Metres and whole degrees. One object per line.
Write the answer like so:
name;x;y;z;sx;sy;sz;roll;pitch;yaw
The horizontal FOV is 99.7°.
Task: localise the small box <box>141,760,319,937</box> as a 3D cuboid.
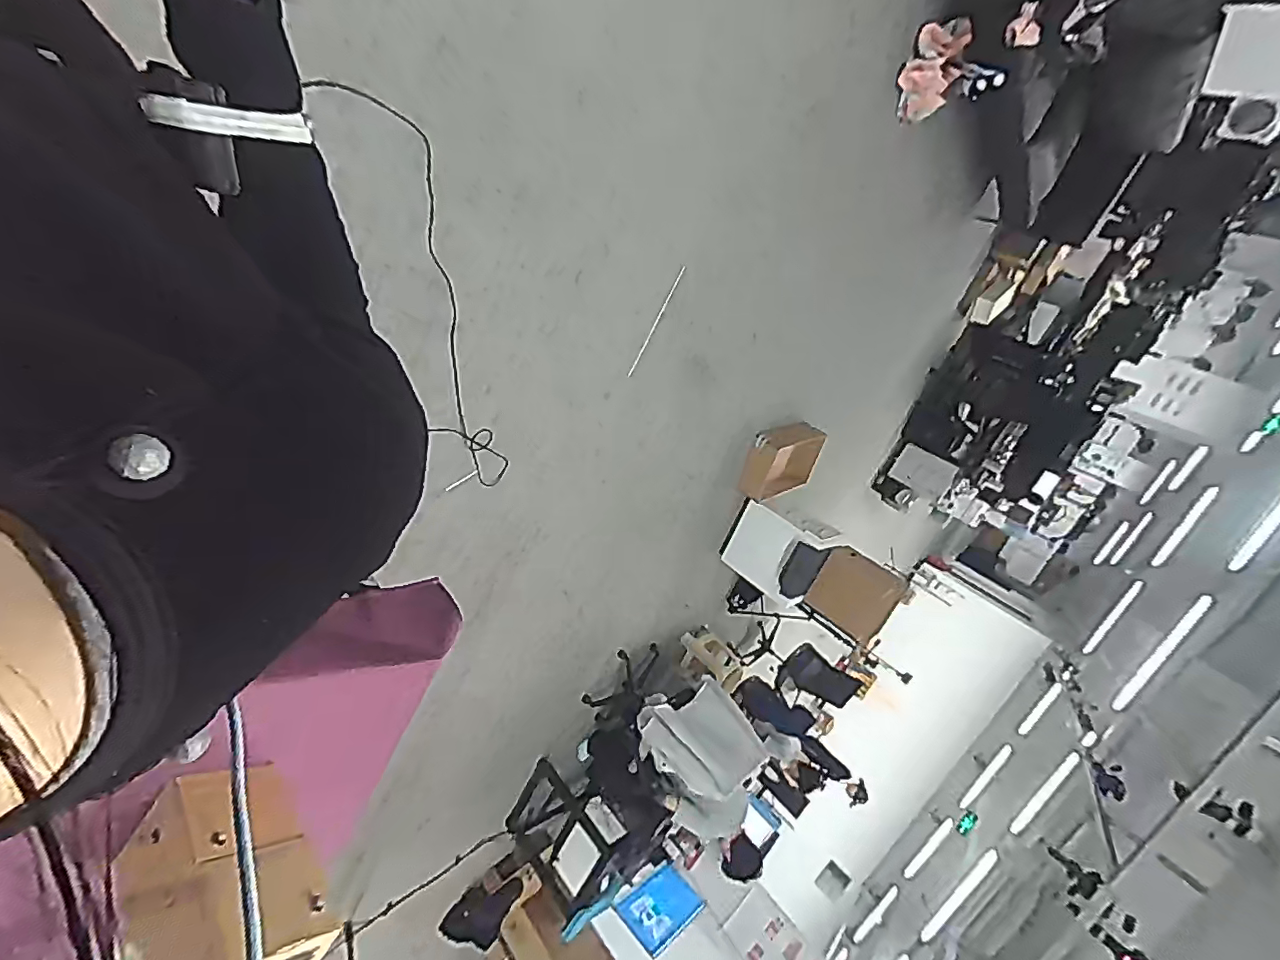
small box;-0.702;0.610;0.927;0.168;0.176;0.179;-55;145;2
